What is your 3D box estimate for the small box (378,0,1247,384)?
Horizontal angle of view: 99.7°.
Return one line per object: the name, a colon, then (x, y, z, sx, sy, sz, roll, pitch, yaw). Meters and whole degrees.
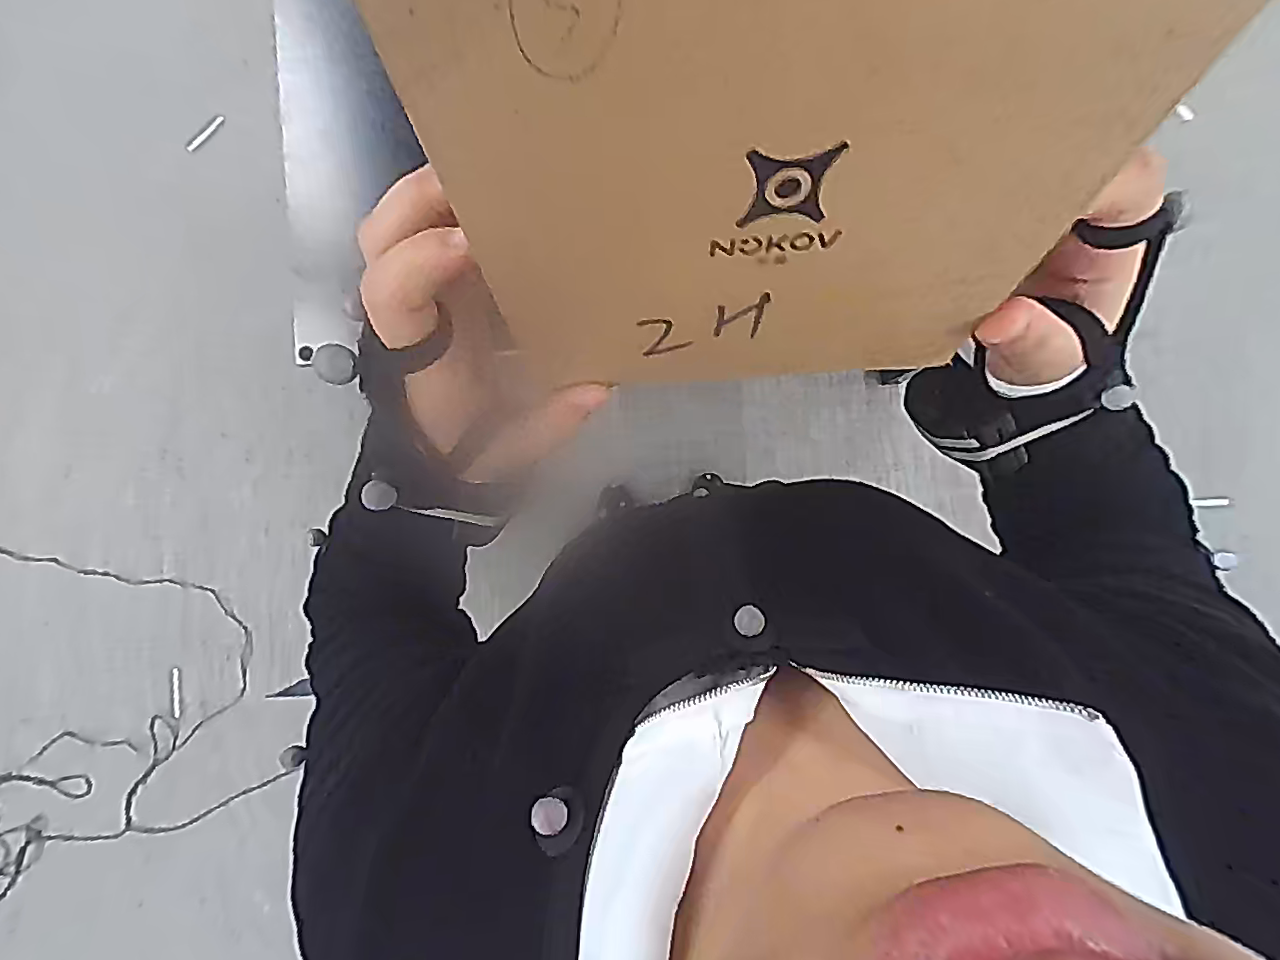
small box: (0.032, -0.150, 0.170, 0.168, 0.179, 0.176, -3, 71, 2)
